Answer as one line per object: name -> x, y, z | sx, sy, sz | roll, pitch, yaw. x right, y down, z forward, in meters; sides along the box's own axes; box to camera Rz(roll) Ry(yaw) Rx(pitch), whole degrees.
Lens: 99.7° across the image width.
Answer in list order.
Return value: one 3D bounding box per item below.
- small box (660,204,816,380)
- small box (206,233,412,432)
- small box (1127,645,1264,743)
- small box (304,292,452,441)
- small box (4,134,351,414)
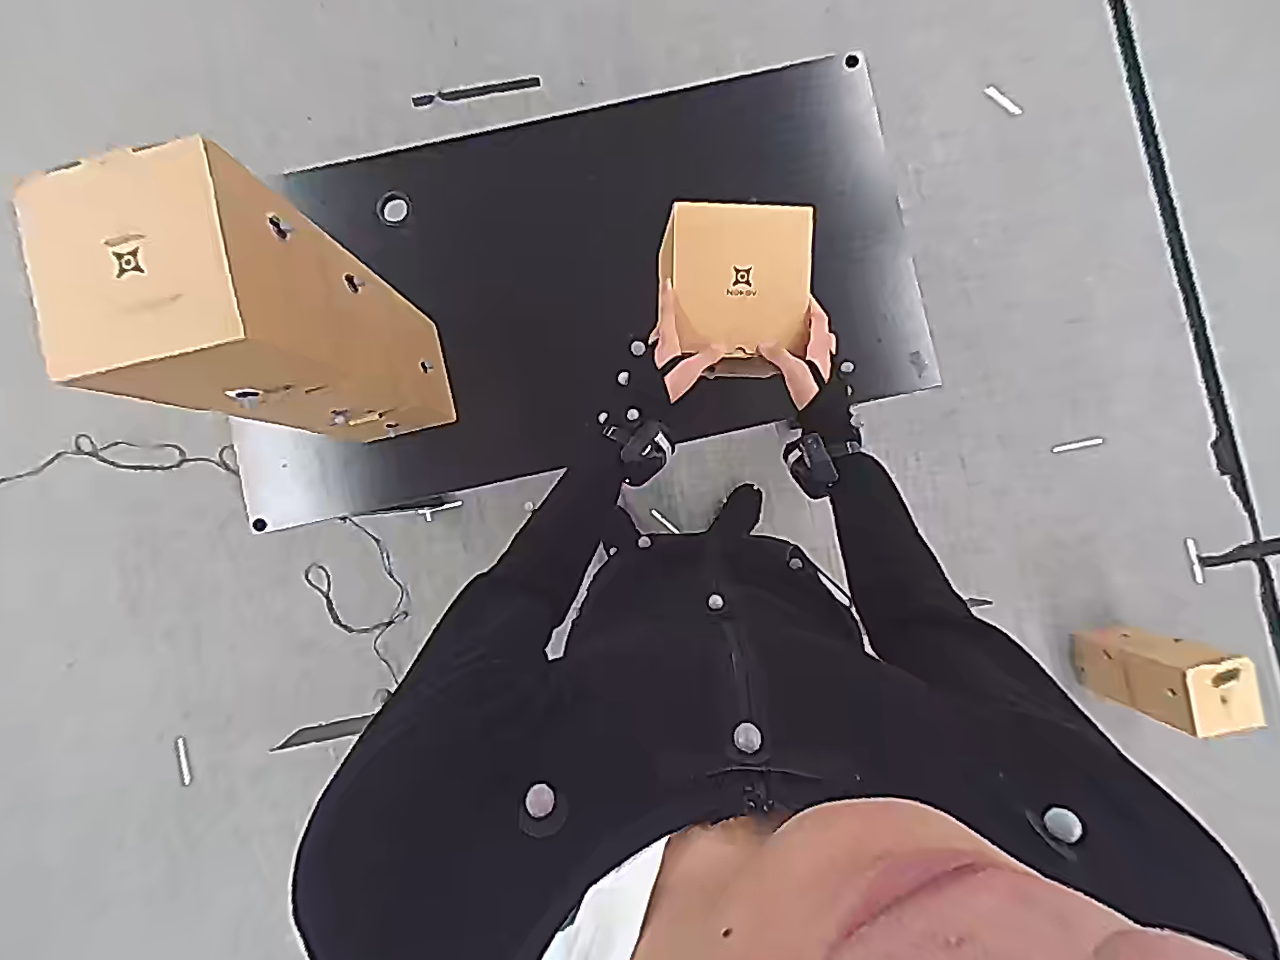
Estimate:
small box -> 0.115, -0.230, 0.703 | 0.168, 0.176, 0.179 | 0, 94, -4
small box -> -0.410, -0.169, 0.672 | 0.168, 0.176, 0.179 | -13, 89, 0
small box -> 1.401, 0.533, 1.378 | 0.168, 0.176, 0.179 | -12, 90, 0
small box -> -0.410, -0.162, 0.837 | 0.168, 0.176, 0.179 | -14, 89, -1
small box -> -0.409, -0.173, 0.509 | 0.168, 0.176, 0.179 | -14, 89, 1
